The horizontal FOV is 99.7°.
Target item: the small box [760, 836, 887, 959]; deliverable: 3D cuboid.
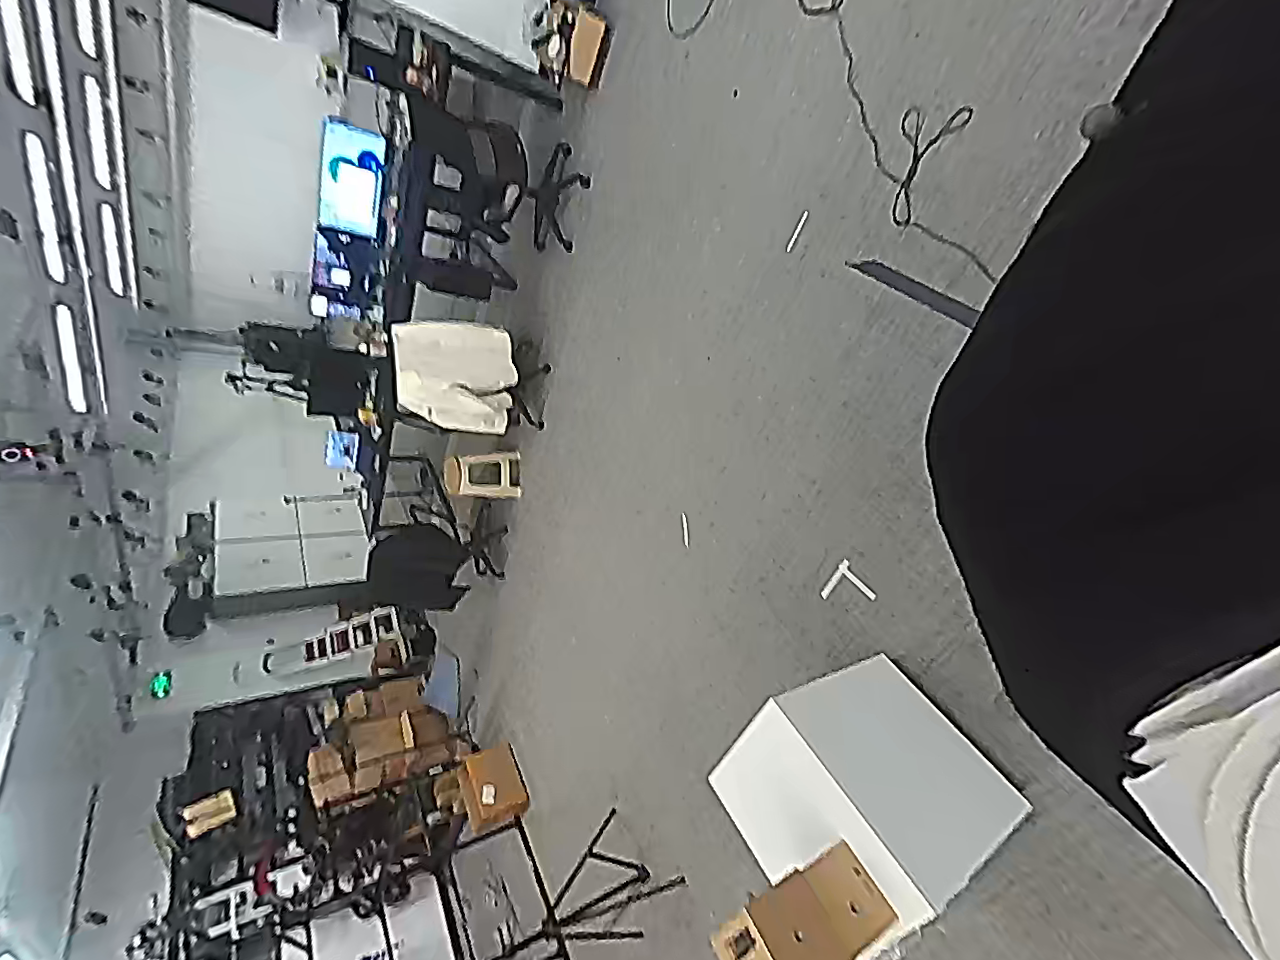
[{"bbox_3d":[0.406,0.926,1.184,0.168,0.176,0.179,52,130,38],"label":"small box"}]
